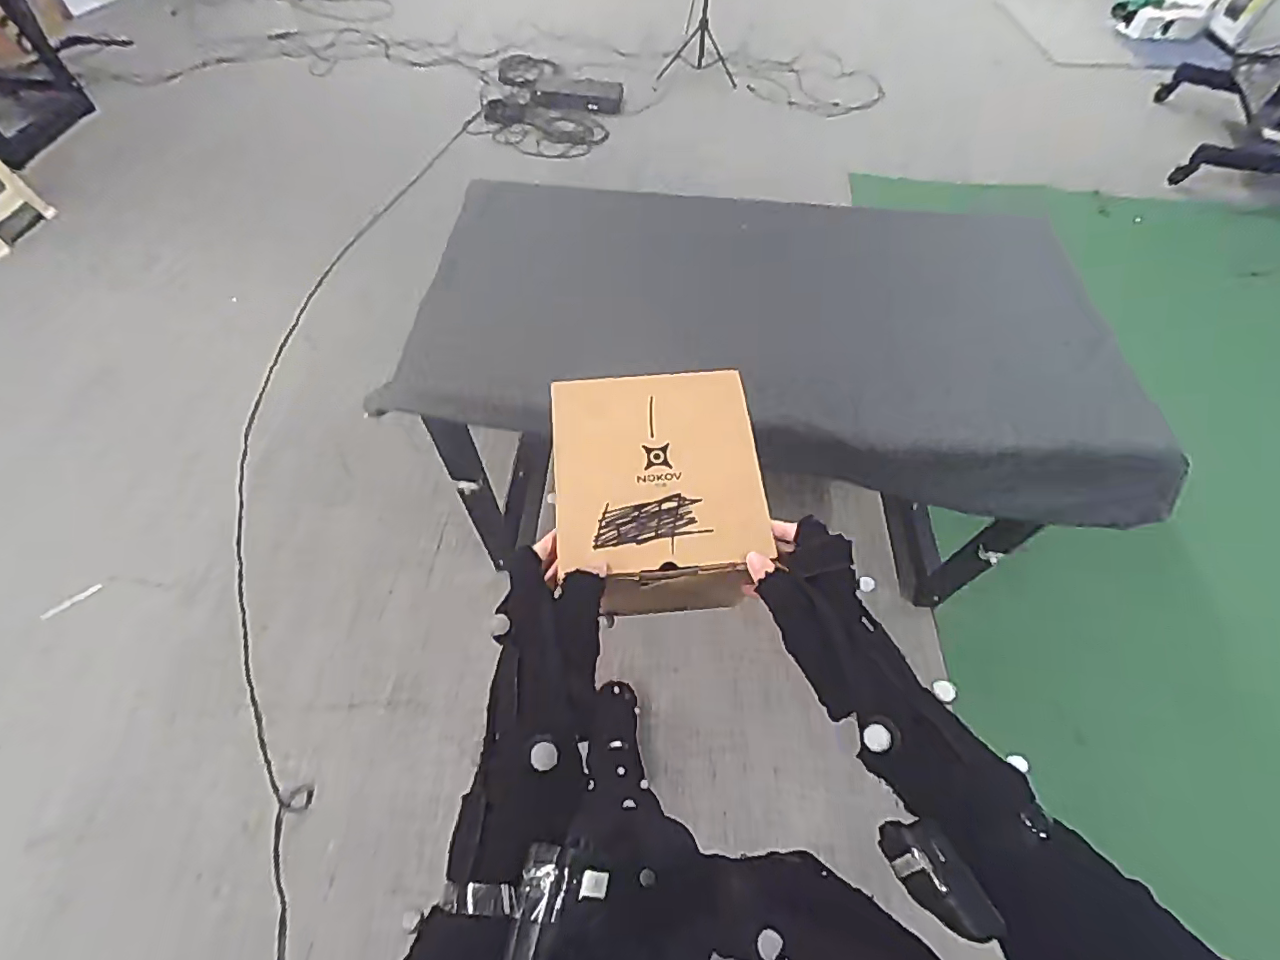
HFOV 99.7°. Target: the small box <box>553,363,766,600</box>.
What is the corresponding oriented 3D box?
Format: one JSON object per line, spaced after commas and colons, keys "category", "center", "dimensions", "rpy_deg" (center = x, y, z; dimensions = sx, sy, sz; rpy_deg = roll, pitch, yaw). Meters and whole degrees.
{"category": "small box", "center": [0.010, 0.013, 0.517], "dimensions": [0.168, 0.176, 0.179], "rpy_deg": [-4, 65, -3]}
